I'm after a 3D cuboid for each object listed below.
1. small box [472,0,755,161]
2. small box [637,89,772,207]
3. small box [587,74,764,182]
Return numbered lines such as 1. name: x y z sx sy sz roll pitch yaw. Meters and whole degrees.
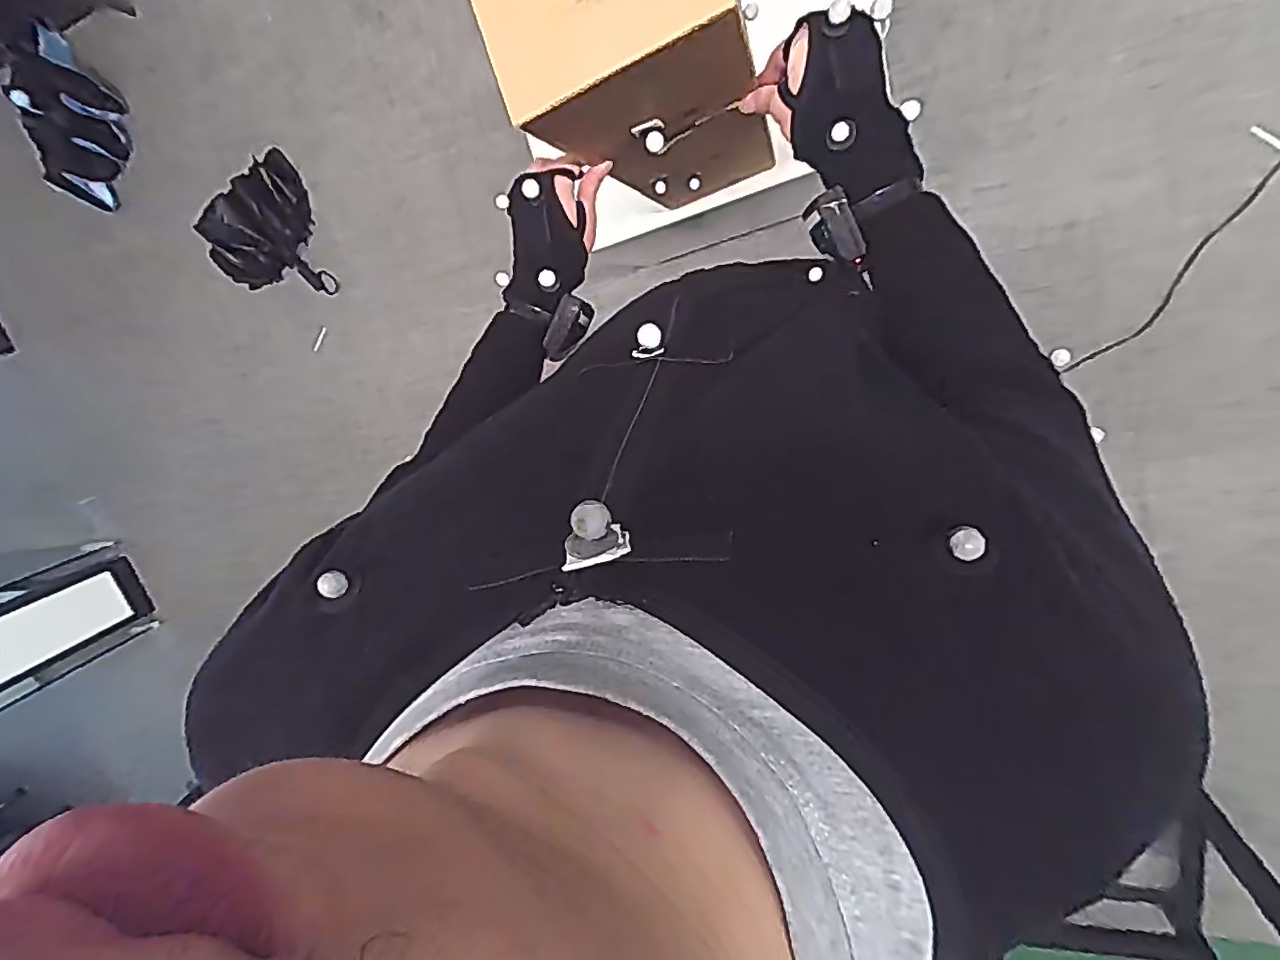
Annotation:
1. small box: -0.020 -0.375 0.402 0.168 0.176 0.179 -14 105 21
2. small box: 0.068 -0.482 0.701 0.168 0.176 0.179 -15 105 21
3. small box: 0.023 -0.428 0.550 0.168 0.176 0.179 -14 103 20
